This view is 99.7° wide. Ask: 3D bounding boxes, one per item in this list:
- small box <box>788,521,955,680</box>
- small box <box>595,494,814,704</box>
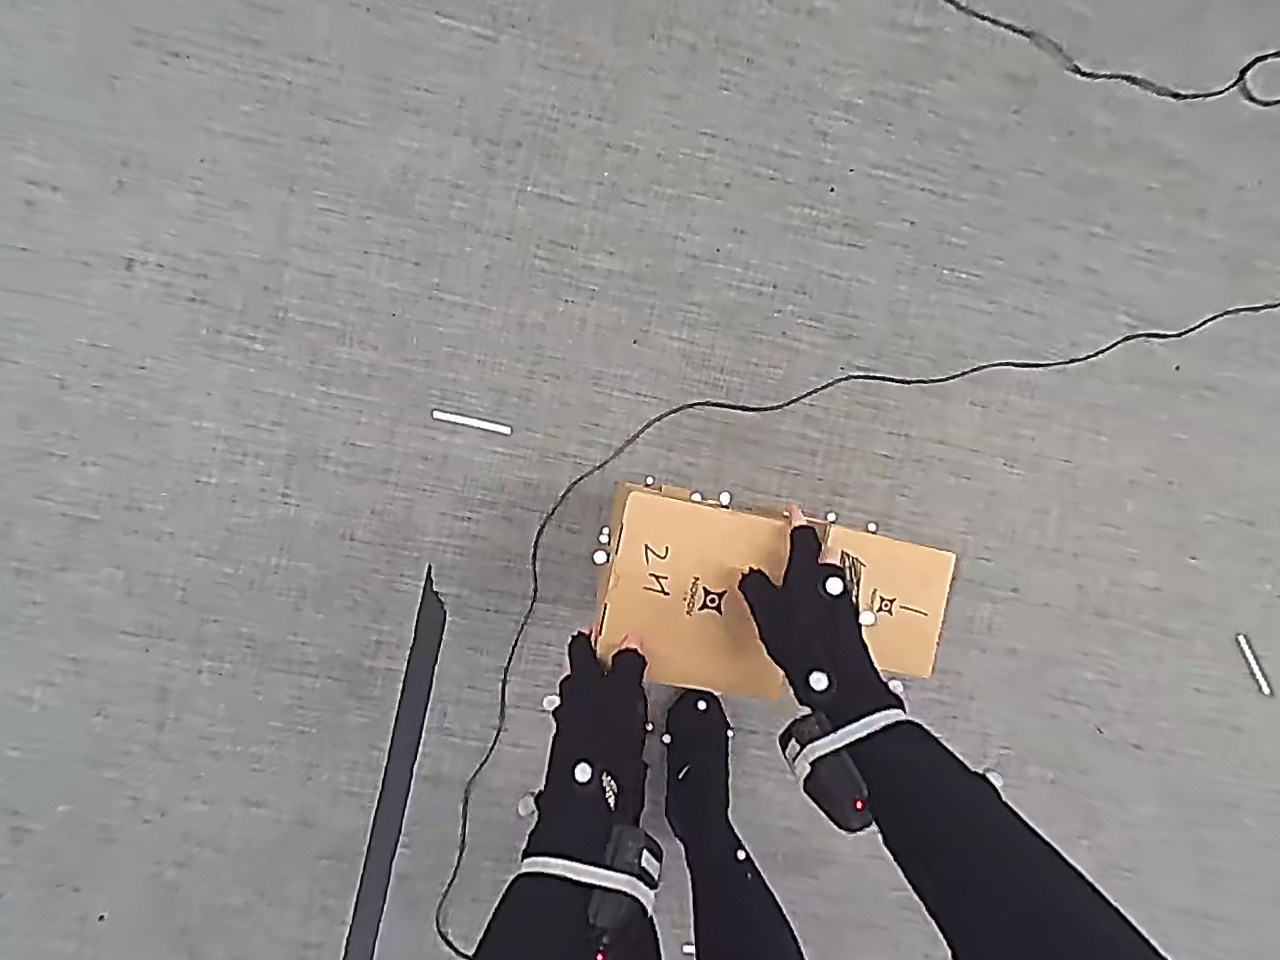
[{"bbox_3d":[0.292,0.156,0.757,0.179,0.176,0.168,13,90,-7],"label":"small box"},{"bbox_3d":[0.055,0.110,0.571,0.179,0.176,0.168,12,89,-3],"label":"small box"}]
